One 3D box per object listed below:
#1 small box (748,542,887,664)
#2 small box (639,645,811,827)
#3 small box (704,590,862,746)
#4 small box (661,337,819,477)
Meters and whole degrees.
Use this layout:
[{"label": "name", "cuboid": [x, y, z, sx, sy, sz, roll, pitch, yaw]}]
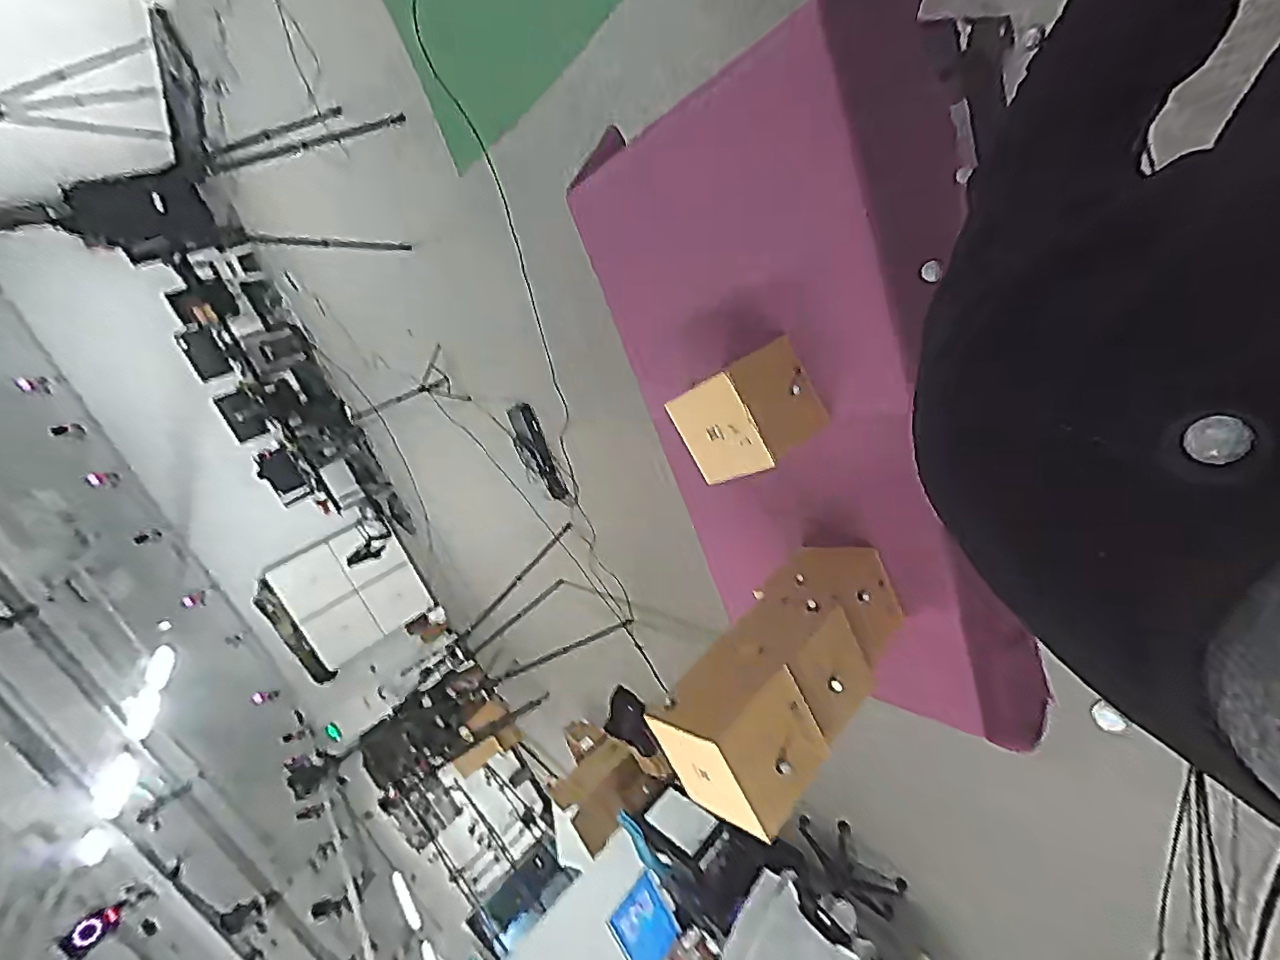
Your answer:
[{"label": "small box", "cuboid": [0.348, 0.230, 1.038, 0.179, 0.176, 0.168, -7, 111, 56]}, {"label": "small box", "cuboid": [0.136, 0.375, 0.833, 0.179, 0.176, 0.168, -15, 105, 57]}, {"label": "small box", "cuboid": [0.248, 0.308, 0.931, 0.168, 0.176, 0.179, -8, 111, 55]}, {"label": "small box", "cuboid": [0.175, -0.126, 0.948, 0.179, 0.176, 0.168, -18, 104, 57]}]
